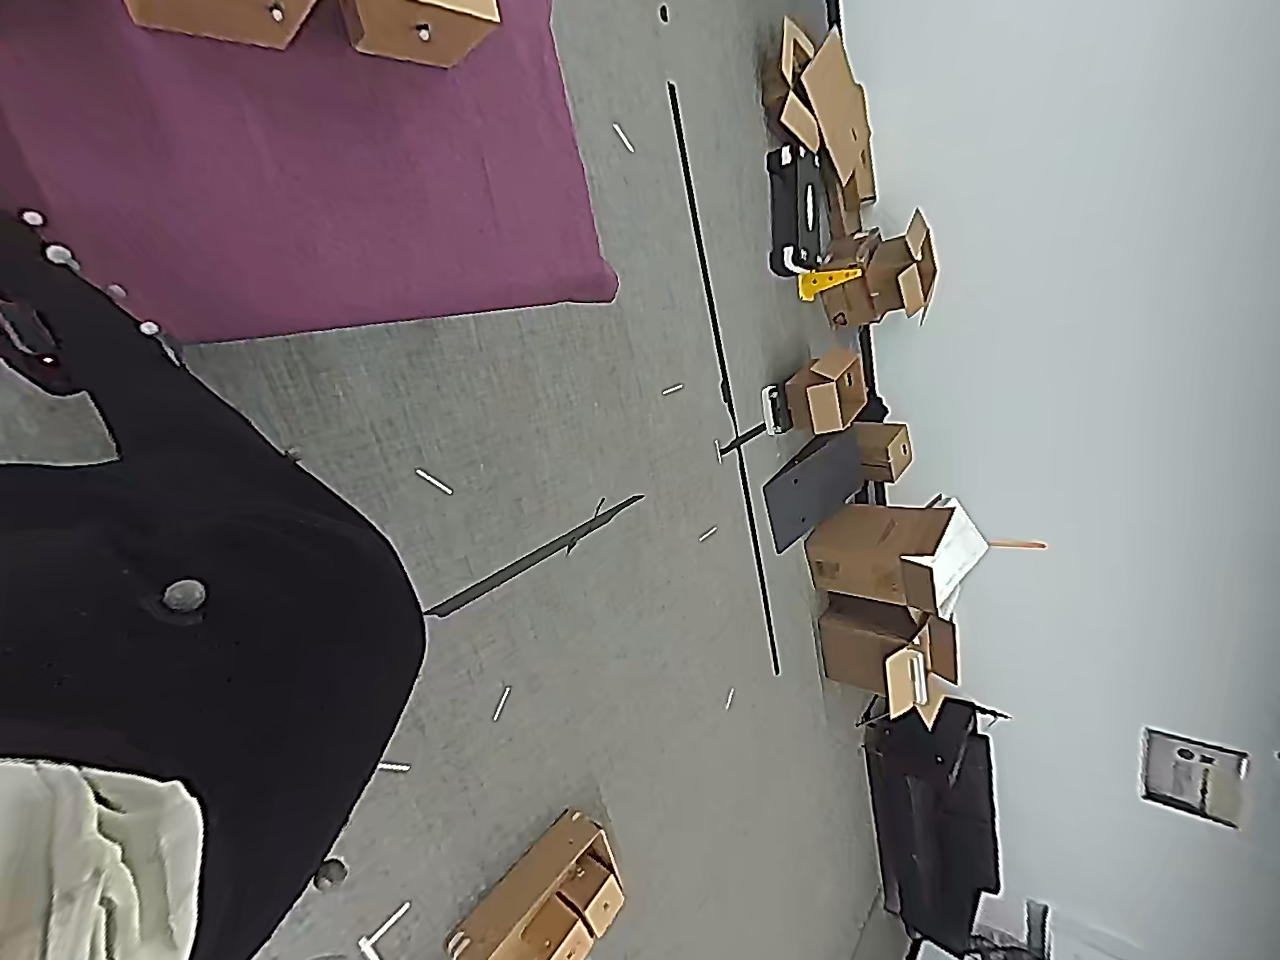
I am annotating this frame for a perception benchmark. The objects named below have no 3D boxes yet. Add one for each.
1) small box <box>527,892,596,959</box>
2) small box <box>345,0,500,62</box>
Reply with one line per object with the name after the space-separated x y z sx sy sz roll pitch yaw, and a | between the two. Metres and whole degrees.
-0.305 1.736 2.056 0.179 0.176 0.168 -36 118 -38 | small box
-0.350 -0.780 0.830 0.179 0.176 0.168 -28 115 -41 | small box
